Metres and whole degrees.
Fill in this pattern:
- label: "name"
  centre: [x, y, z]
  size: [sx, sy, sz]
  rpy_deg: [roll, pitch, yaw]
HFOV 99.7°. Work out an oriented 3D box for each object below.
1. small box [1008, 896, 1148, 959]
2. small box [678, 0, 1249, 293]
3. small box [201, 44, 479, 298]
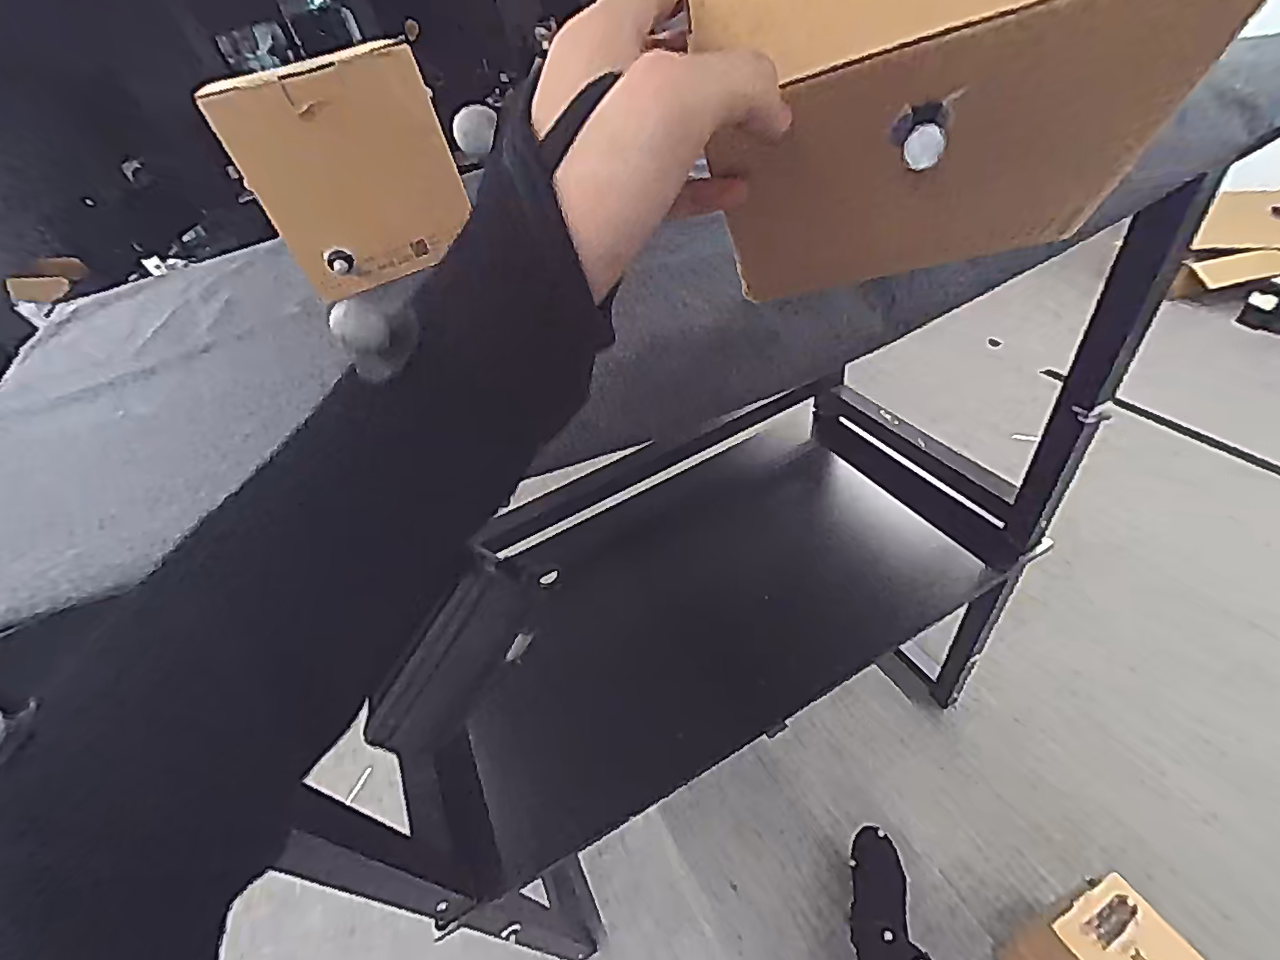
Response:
- label: "small box"
  centre: [0.859, 0.959, 1.048]
  size: [0.179, 0.176, 0.168]
  rpy_deg: [-29, 45, -13]
- label: "small box"
  centre: [0.119, -0.213, 0.254]
  size: [0.179, 0.176, 0.168]
  rpy_deg: [-7, 81, 19]
- label: "small box"
  centre: [-0.278, -0.300, 0.532]
  size: [0.168, 0.176, 0.179]
  rpy_deg: [-26, 44, -12]
